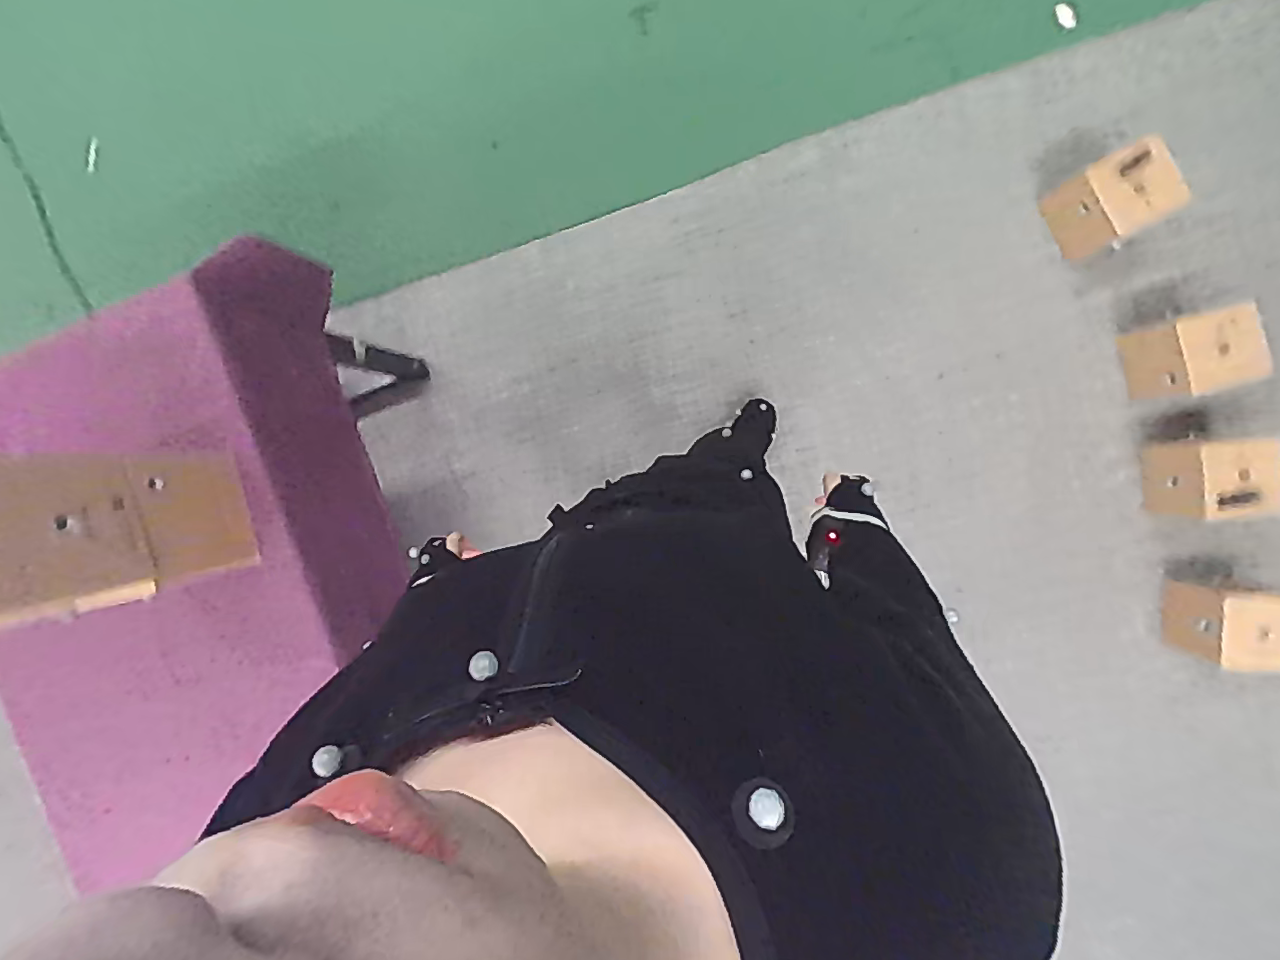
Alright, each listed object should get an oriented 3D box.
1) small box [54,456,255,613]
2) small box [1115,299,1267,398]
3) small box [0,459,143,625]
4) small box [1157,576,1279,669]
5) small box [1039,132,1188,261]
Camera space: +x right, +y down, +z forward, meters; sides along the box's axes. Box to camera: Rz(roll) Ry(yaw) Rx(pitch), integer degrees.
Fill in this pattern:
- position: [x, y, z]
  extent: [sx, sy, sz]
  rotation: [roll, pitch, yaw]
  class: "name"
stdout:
- position: [-0.697, 0.068, 0.770]
  extent: [0.168, 0.176, 0.179]
  rotation: [-13, 92, 7]
  class: "small box"
- position: [1.270, -0.295, 1.259]
  extent: [0.168, 0.176, 0.179]
  rotation: [-16, 92, 6]
  class: "small box"
- position: [-0.717, 0.075, 0.607]
  extent: [0.179, 0.176, 0.168]
  rotation: [-17, 91, 7]
  class: "small box"
- position: [1.390, 0.333, 1.289]
  extent: [0.168, 0.176, 0.179]
  rotation: [0, 95, 7]
  class: "small box"
- position: [1.084, -0.647, 1.256]
  extent: [0.168, 0.176, 0.179]
  rotation: [-28, 91, 7]
  class: "small box"
